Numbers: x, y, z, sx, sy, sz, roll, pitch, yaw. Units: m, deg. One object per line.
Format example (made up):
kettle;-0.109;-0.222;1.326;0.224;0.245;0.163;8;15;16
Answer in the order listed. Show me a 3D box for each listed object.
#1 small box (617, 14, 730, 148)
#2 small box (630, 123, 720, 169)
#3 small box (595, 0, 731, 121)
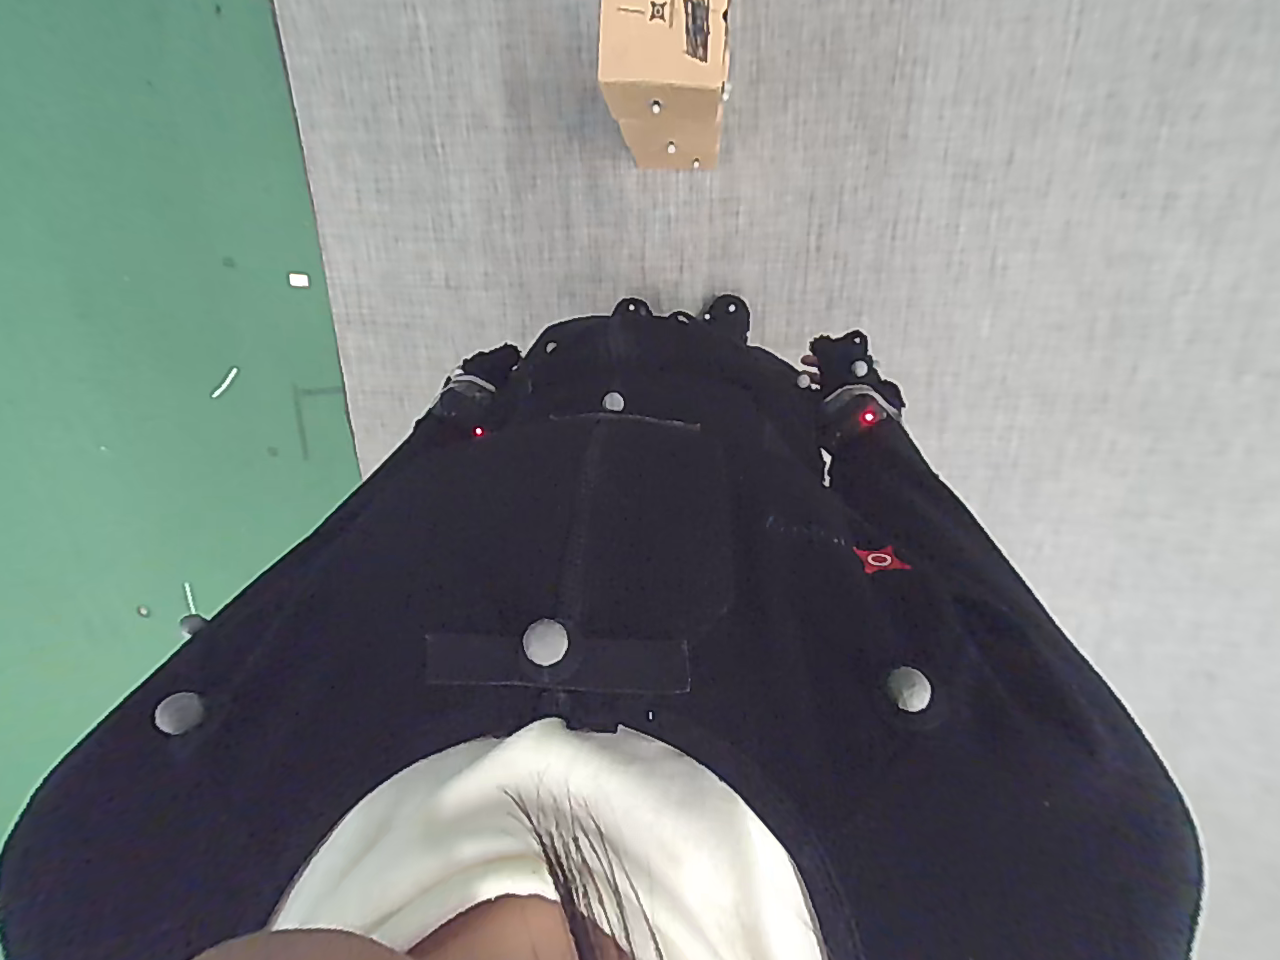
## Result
small box;0.058;-0.705;0.959;0.179;0.176;0.168;5;109;3
small box;0.076;-0.754;1.114;0.179;0.176;0.168;3;108;6
small box;0.040;-0.655;0.803;0.179;0.176;0.168;8;109;5
